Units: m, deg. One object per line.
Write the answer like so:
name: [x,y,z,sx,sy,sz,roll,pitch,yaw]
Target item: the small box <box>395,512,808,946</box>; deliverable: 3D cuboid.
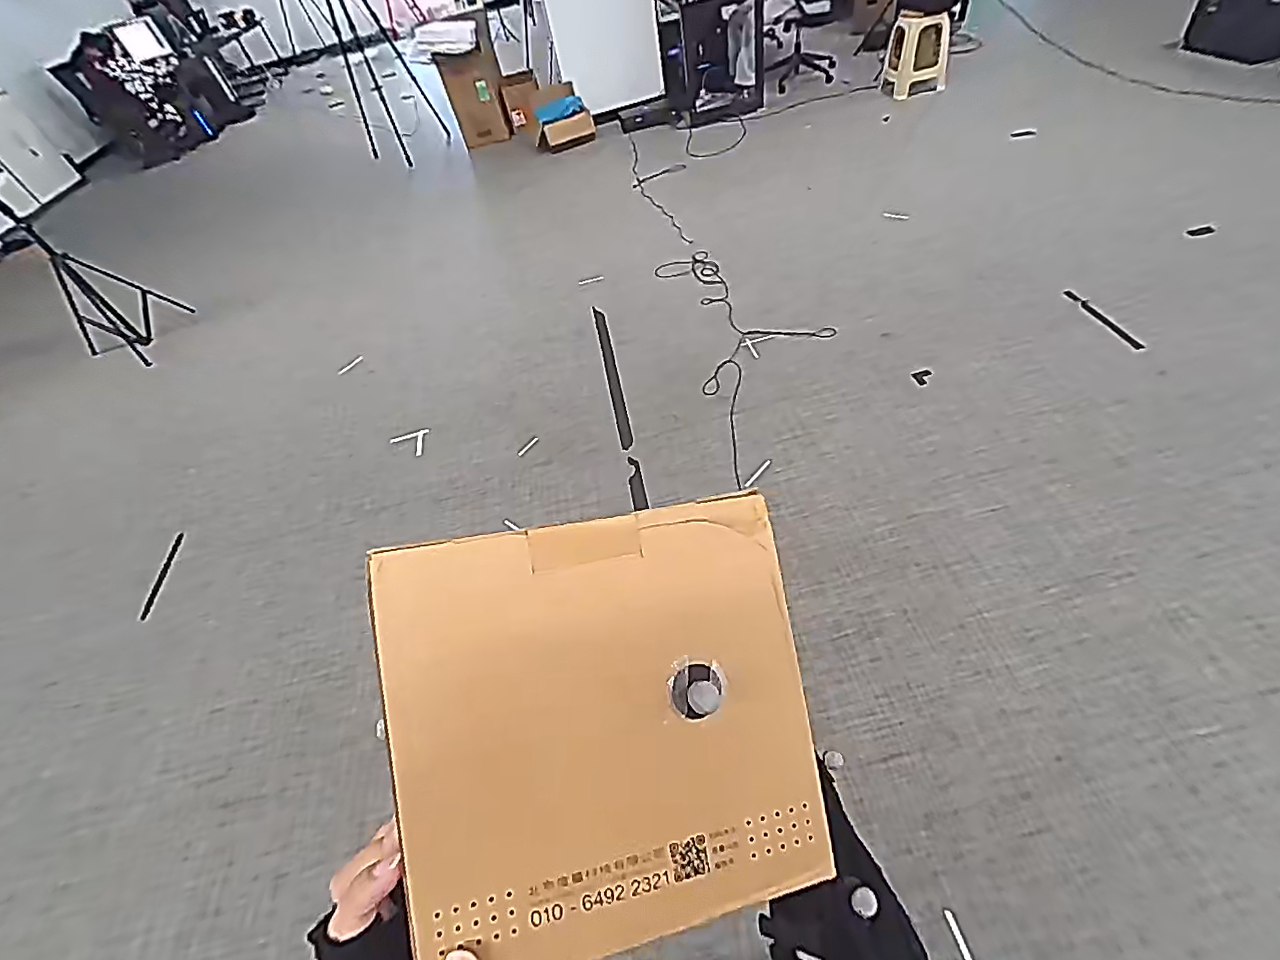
small box: [-0.024,0.118,0.313,0.168,0.179,0.176,-8,85,-12]
